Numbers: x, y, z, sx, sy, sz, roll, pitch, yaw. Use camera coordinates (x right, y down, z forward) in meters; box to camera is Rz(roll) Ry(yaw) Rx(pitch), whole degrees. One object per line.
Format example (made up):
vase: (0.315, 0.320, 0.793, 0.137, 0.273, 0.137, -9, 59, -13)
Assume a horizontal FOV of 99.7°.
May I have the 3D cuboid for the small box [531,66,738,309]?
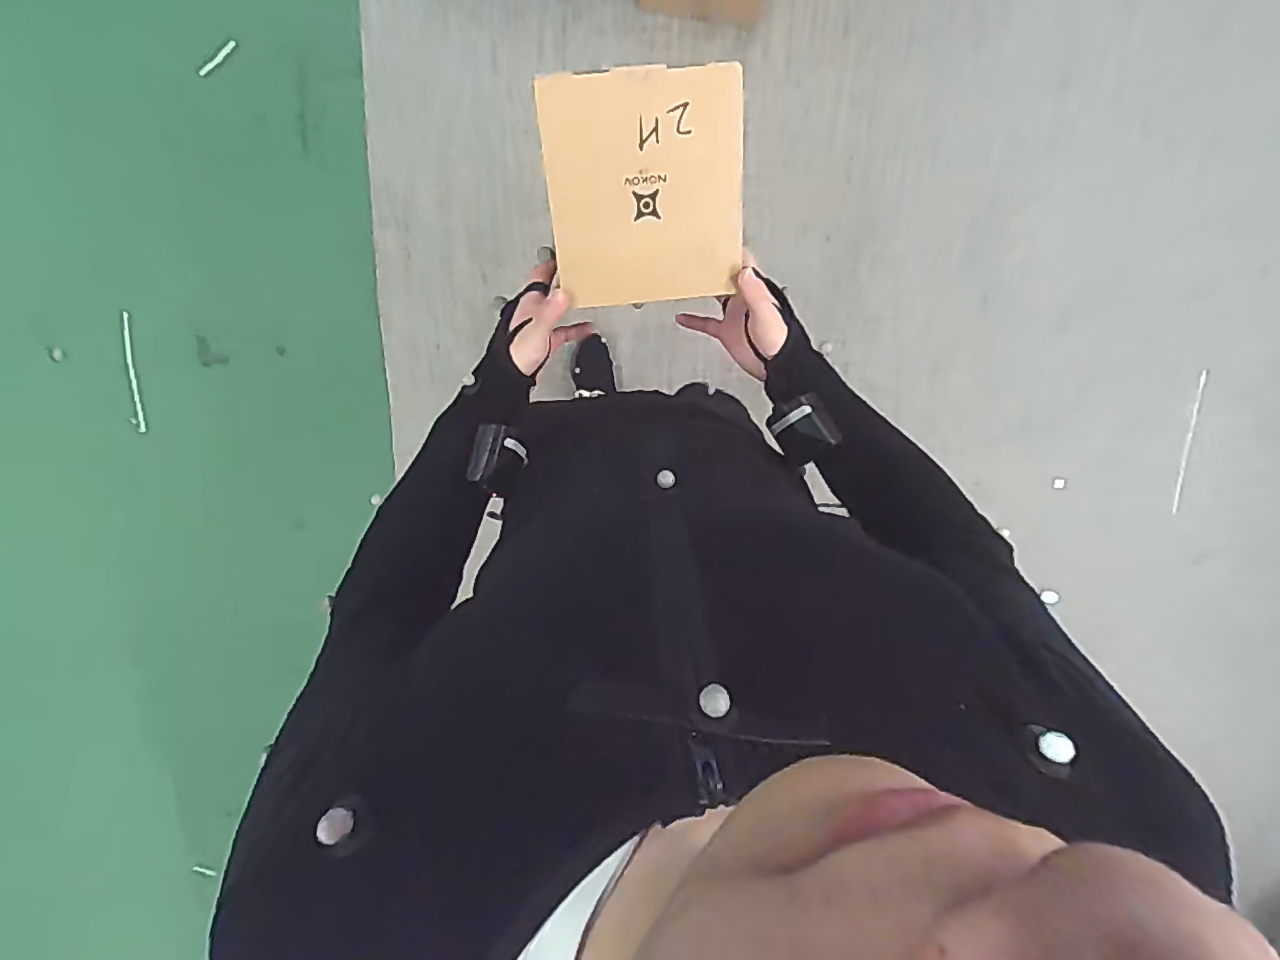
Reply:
small box: (-0.008, -0.271, 0.526, 0.168, 0.176, 0.179, -6, 114, -5)
